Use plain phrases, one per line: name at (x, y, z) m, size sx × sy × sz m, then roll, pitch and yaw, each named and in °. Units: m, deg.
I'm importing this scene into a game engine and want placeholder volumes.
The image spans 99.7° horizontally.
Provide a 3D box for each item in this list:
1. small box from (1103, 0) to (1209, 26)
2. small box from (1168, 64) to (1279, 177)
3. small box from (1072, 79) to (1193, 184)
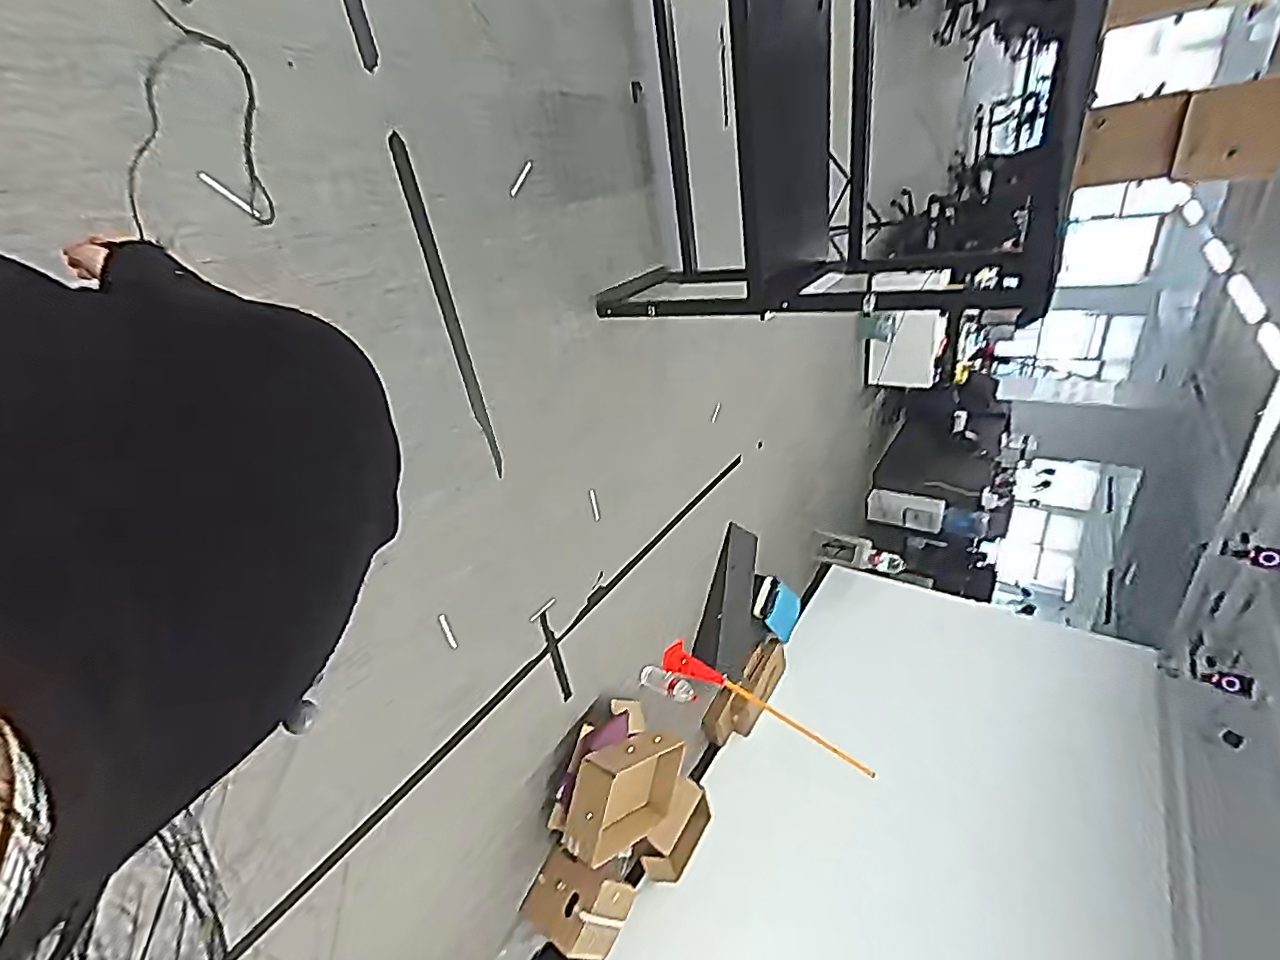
small box at (1.029, -1.018, 1.054) m, size 0.179 × 0.176 × 0.168 m, roll -40°, pitch 130°, yaw -44°
small box at (1.191, -0.721, 1.087) m, size 0.179 × 0.176 × 0.168 m, roll -43°, pitch 133°, yaw -41°
small box at (1.079, -0.762, 1.201) m, size 0.179 × 0.176 × 0.168 m, roll -36°, pitch 128°, yaw -46°
